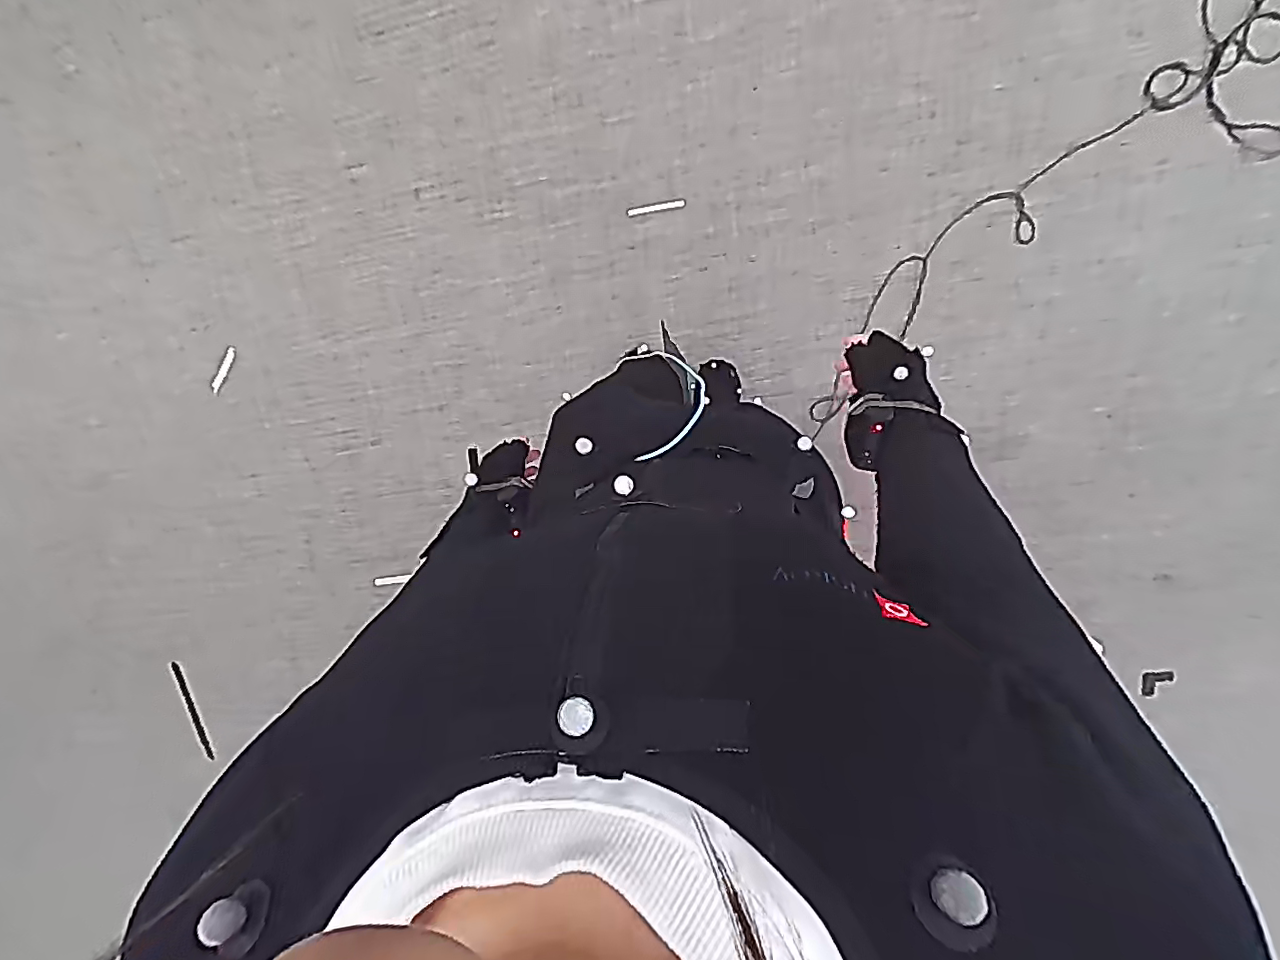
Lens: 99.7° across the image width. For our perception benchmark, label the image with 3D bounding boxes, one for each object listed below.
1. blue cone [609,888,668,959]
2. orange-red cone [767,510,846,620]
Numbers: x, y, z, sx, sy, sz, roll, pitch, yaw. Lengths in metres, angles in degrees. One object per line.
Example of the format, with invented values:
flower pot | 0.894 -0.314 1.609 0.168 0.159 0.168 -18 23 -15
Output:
blue cone | -0.031 1.485 1.649 0.192 0.380 0.193 -2 103 10
orange-red cone | 0.413 0.218 1.255 0.199 0.360 0.198 -2 105 8
